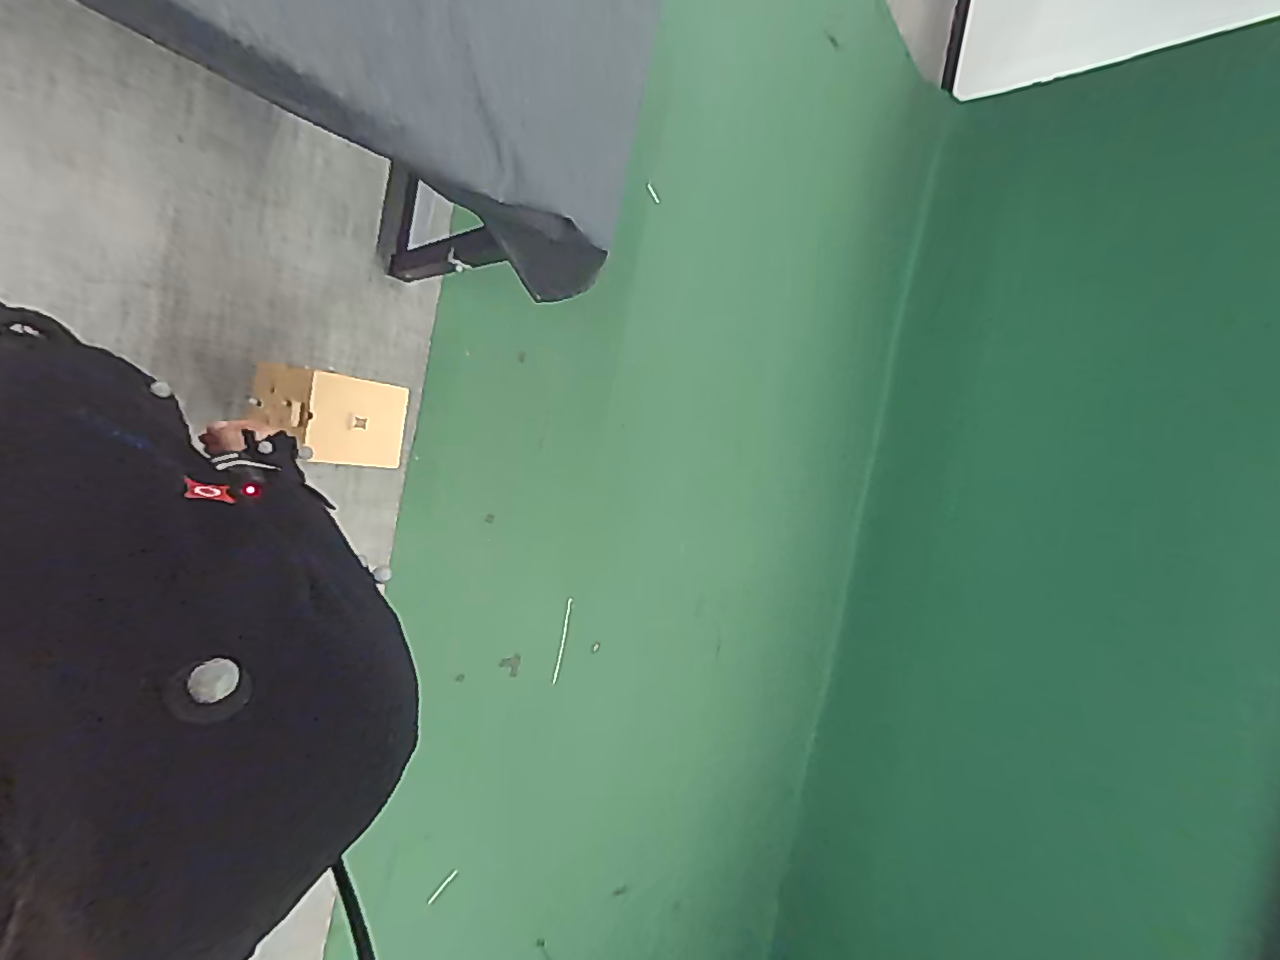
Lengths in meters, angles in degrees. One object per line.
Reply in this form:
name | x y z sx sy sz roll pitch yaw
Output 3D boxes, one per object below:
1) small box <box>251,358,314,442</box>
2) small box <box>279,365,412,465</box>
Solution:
small box | -0.714 -0.159 1.166 0.179 0.176 0.168 7 93 -47
small box | -0.583 -0.129 1.069 0.179 0.176 0.168 5 96 -47
